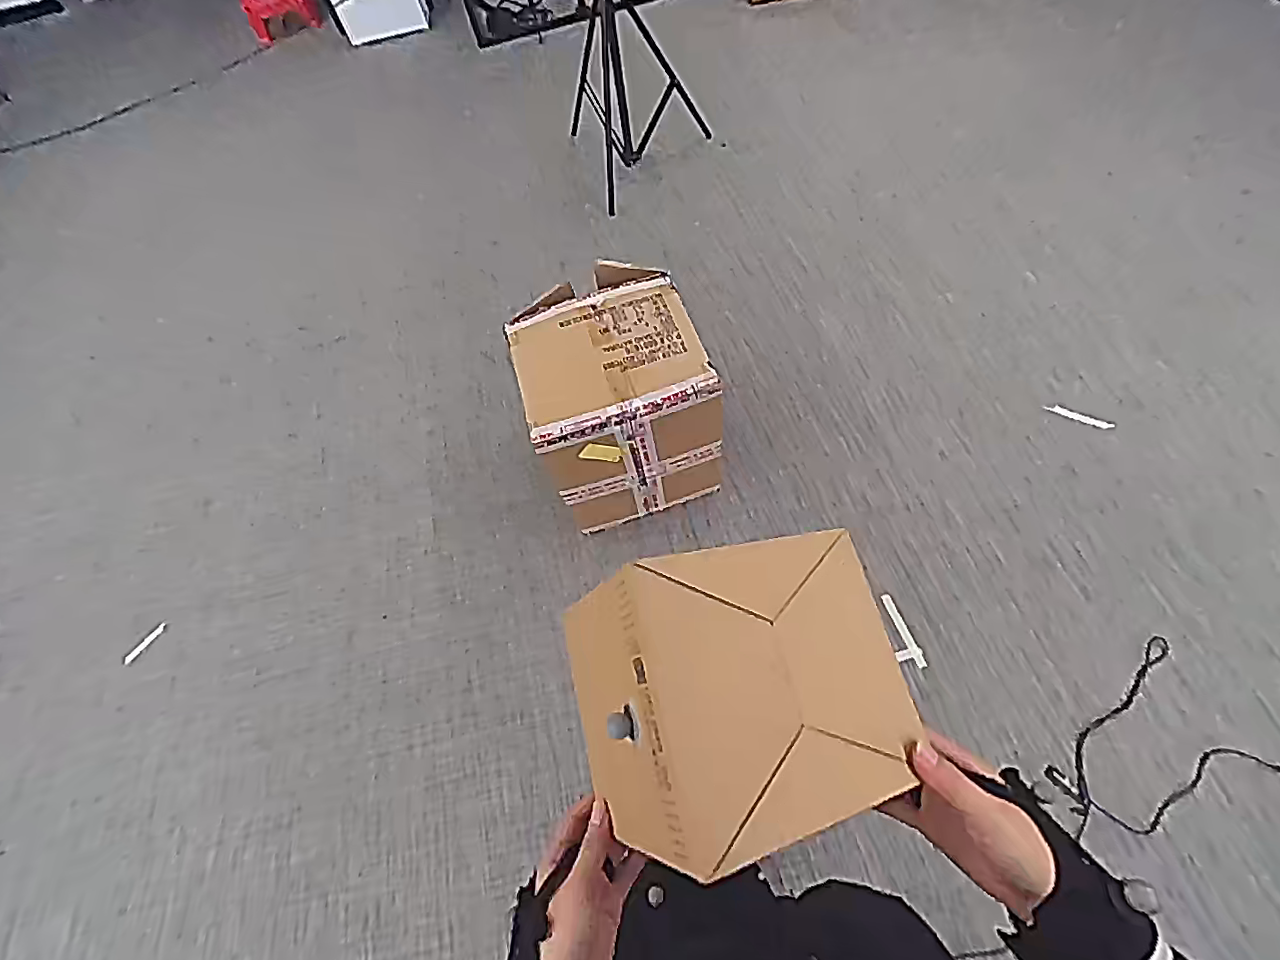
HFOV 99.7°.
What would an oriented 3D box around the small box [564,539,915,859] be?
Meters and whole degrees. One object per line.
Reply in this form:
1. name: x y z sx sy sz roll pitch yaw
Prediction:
1. small box: 0.060 0.150 0.401 0.179 0.176 0.168 -4 68 -26
